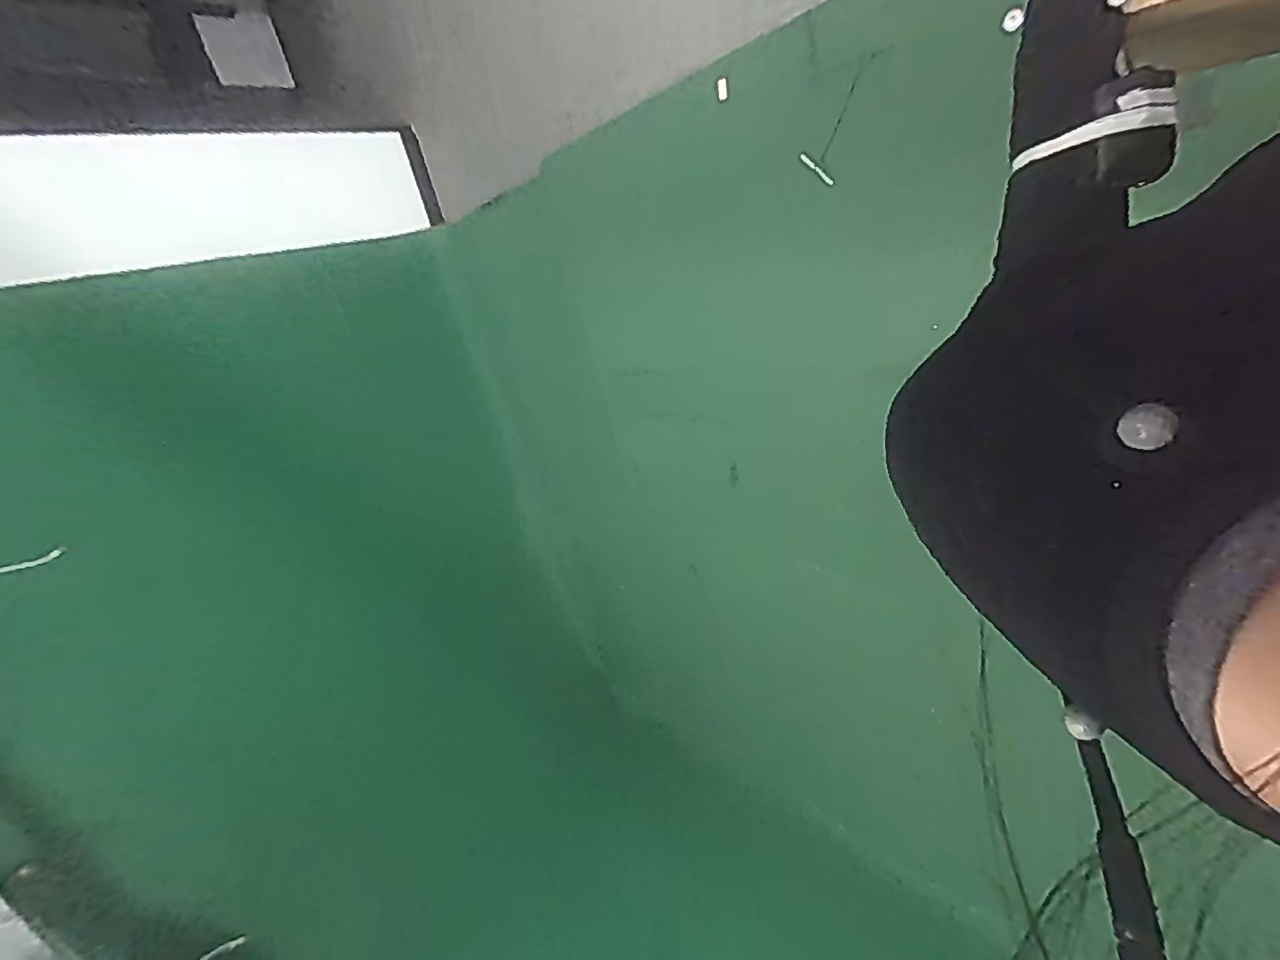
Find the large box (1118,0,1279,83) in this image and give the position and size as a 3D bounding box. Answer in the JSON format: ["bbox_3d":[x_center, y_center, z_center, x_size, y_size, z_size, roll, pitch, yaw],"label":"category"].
[{"bbox_3d":[0.553,-0.475,0.288,0.408,0.320,0.320,11,117,41],"label":"large box"}]
